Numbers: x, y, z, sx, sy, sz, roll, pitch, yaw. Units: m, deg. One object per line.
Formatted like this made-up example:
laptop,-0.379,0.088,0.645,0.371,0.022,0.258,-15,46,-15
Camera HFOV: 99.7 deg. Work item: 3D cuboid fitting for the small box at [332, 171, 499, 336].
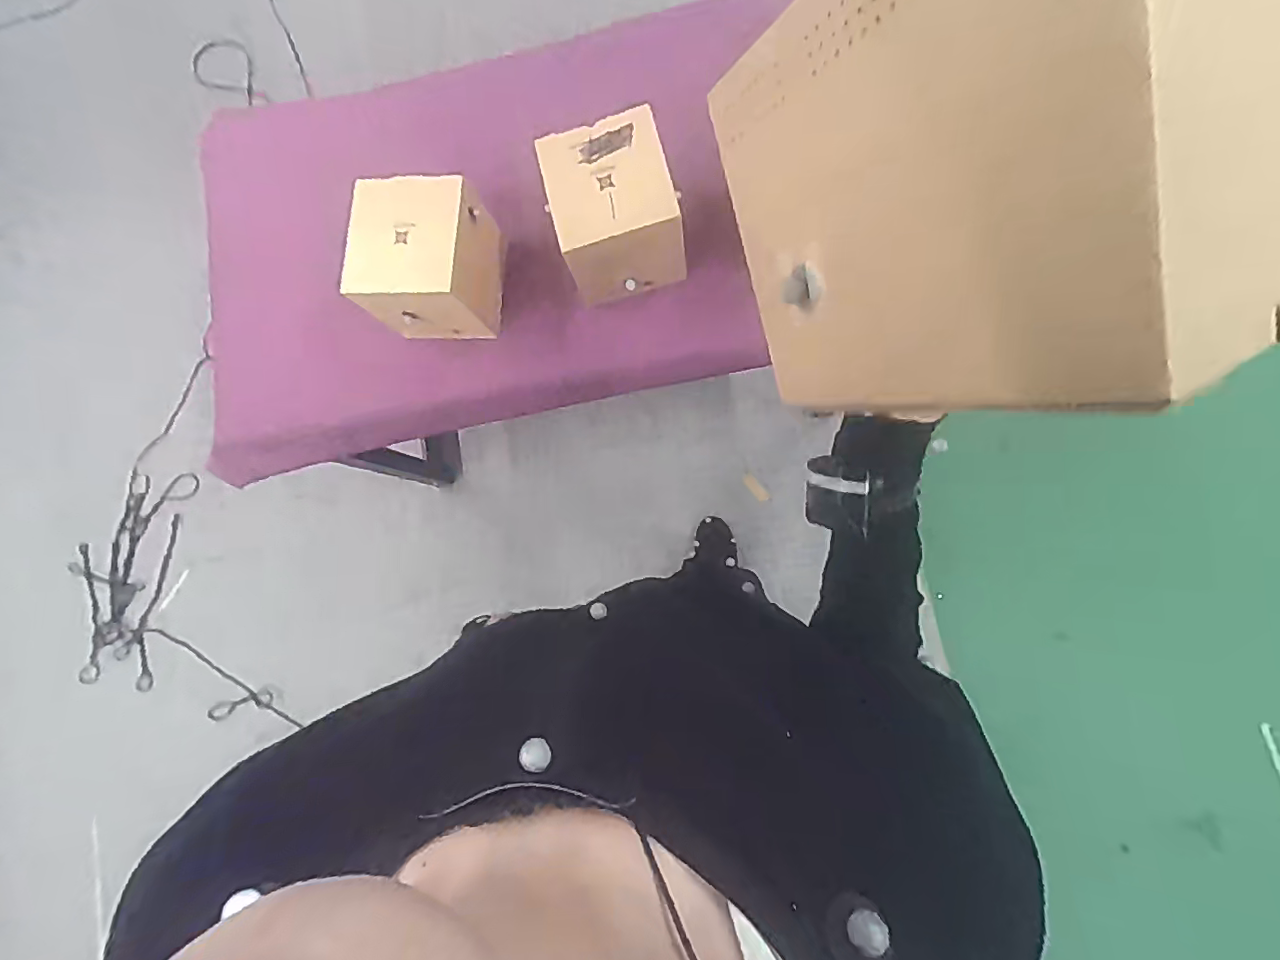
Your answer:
small box,-0.325,-0.328,0.815,0.168,0.176,0.179,2,82,7

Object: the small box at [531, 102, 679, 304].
small box,-0.043,-0.390,0.788,0.168,0.176,0.179,-15,81,5
